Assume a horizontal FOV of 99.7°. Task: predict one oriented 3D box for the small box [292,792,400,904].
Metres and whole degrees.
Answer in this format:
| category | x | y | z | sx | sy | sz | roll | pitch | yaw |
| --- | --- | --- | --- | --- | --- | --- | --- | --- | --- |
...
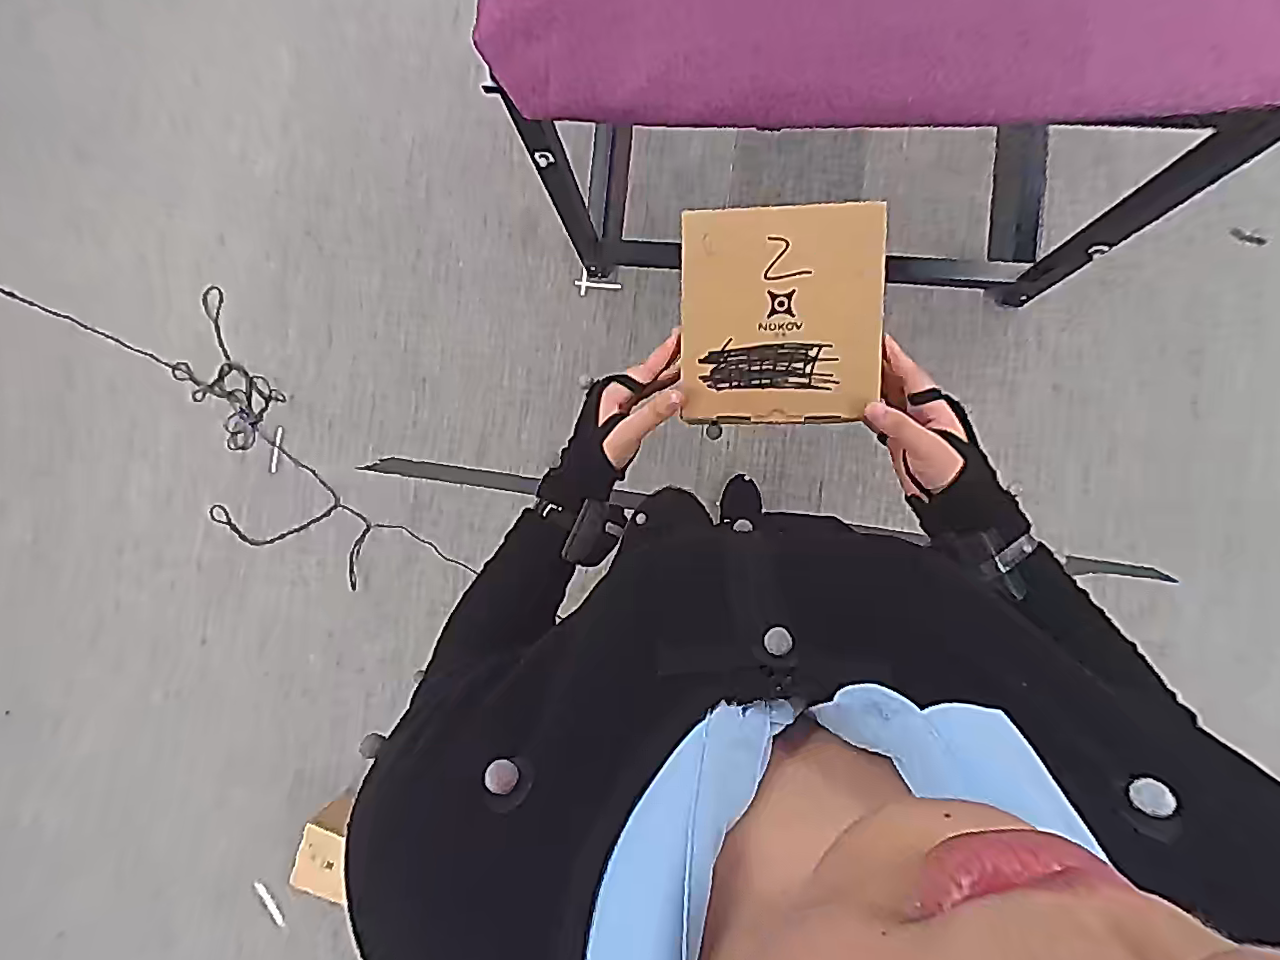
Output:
| category | x | y | z | sx | sy | sz | roll | pitch | yaw |
| --- | --- | --- | --- | --- | --- | --- | --- | --- | --- |
| small box | -0.790 | 0.988 | 1.471 | 0.179 | 0.176 | 0.168 | 16 | 88 | 7 |
